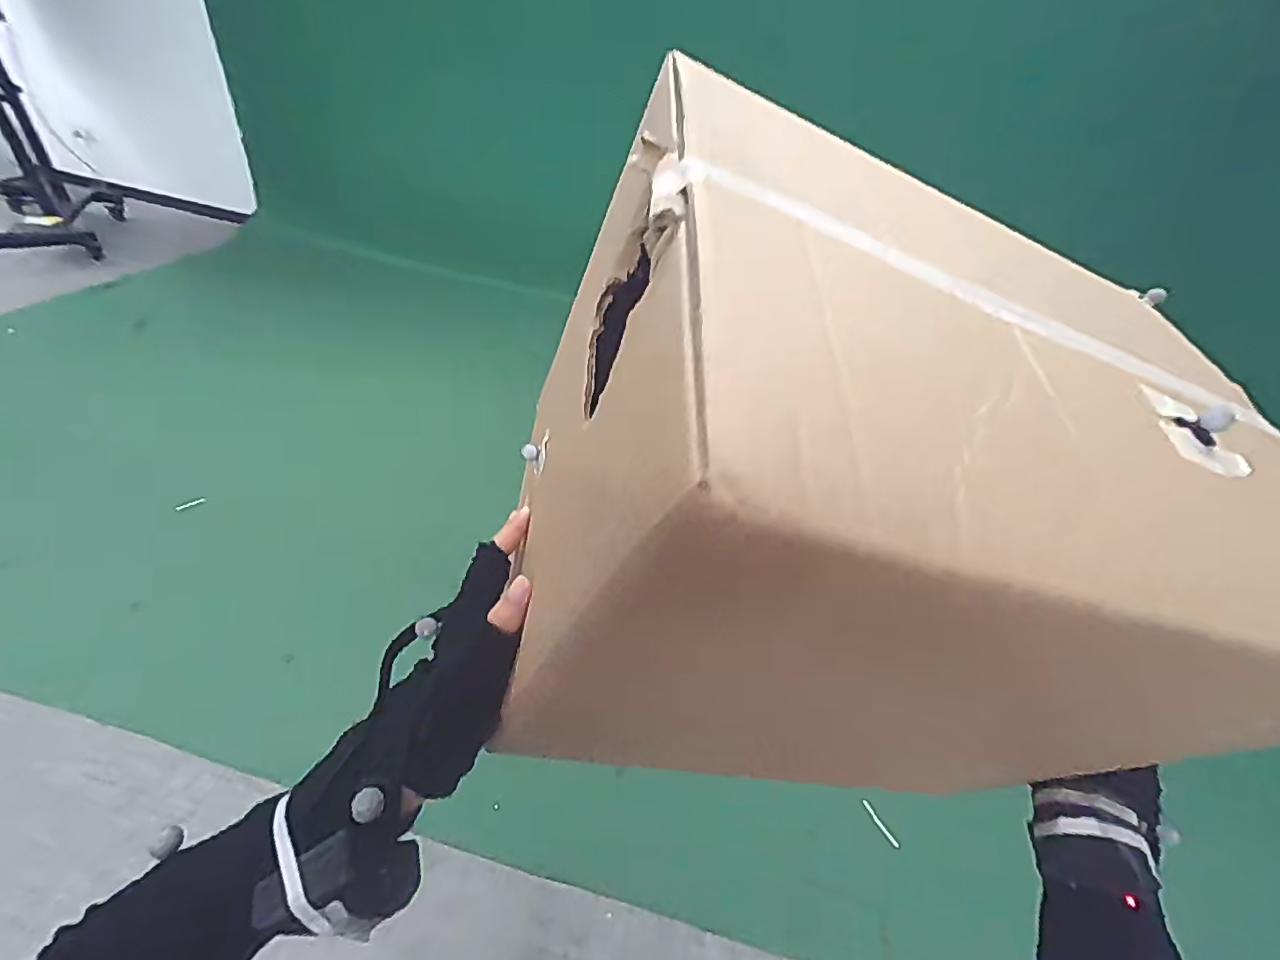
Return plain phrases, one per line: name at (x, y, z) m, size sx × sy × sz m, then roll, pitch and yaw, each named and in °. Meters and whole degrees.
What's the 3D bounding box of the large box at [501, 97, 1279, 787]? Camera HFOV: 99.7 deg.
large box at (0.144, 0.020, 0.398) m, size 0.408 × 0.320 × 0.320 m, roll 15°, pitch 51°, yaw -17°
